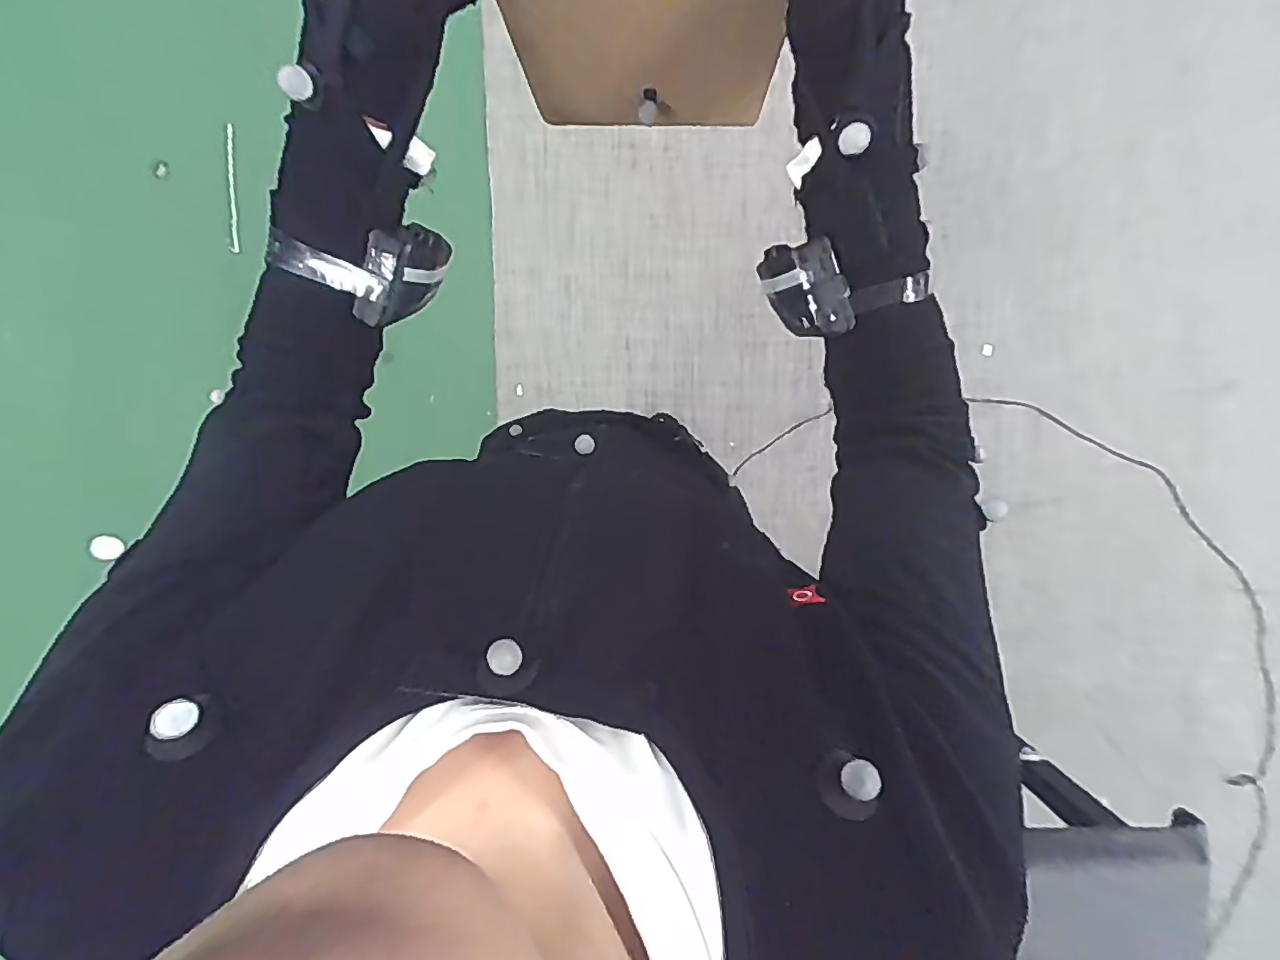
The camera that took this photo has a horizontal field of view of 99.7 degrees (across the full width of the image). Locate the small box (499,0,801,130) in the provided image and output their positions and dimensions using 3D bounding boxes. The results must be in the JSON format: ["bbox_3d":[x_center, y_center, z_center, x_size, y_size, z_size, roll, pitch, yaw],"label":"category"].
[{"bbox_3d":[0.007,-0.357,0.351,0.179,0.176,0.168,2,95,1],"label":"small box"}]
